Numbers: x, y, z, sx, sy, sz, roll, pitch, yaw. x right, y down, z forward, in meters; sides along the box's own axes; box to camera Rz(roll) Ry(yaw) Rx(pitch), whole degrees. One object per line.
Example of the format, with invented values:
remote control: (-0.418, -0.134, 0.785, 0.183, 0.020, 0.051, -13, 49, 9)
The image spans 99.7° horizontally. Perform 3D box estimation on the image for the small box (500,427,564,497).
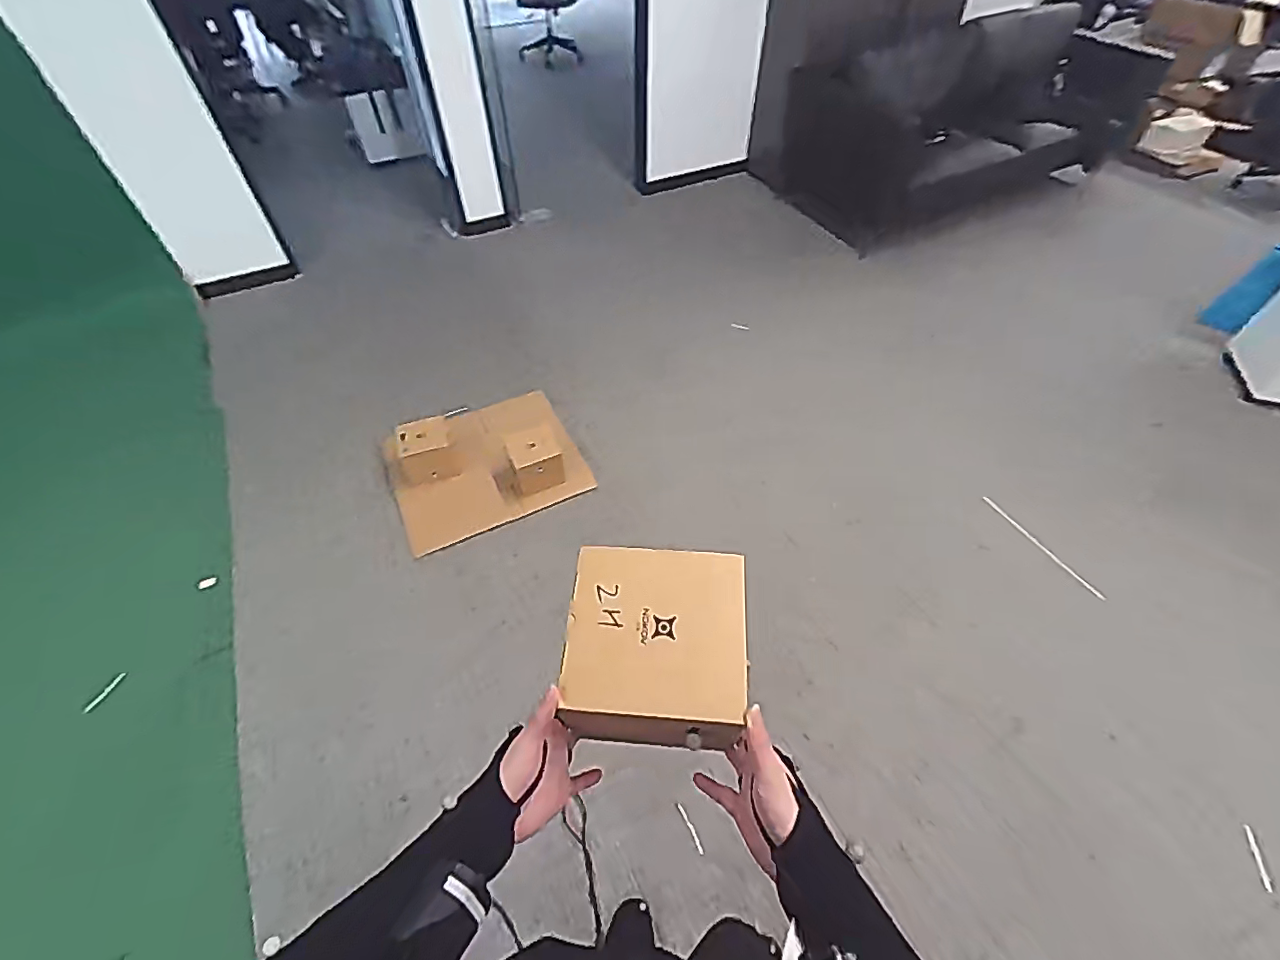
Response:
small box: (-0.397, -0.063, 2.003, 0.179, 0.176, 0.168, -21, 55, -16)

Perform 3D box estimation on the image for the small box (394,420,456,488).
small box: (-0.800, -0.097, 2.023, 0.179, 0.176, 0.168, -15, 53, -12)

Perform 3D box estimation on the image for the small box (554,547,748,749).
small box: (0.017, 0.188, 0.590, 0.179, 0.176, 0.168, 2, 55, 4)
